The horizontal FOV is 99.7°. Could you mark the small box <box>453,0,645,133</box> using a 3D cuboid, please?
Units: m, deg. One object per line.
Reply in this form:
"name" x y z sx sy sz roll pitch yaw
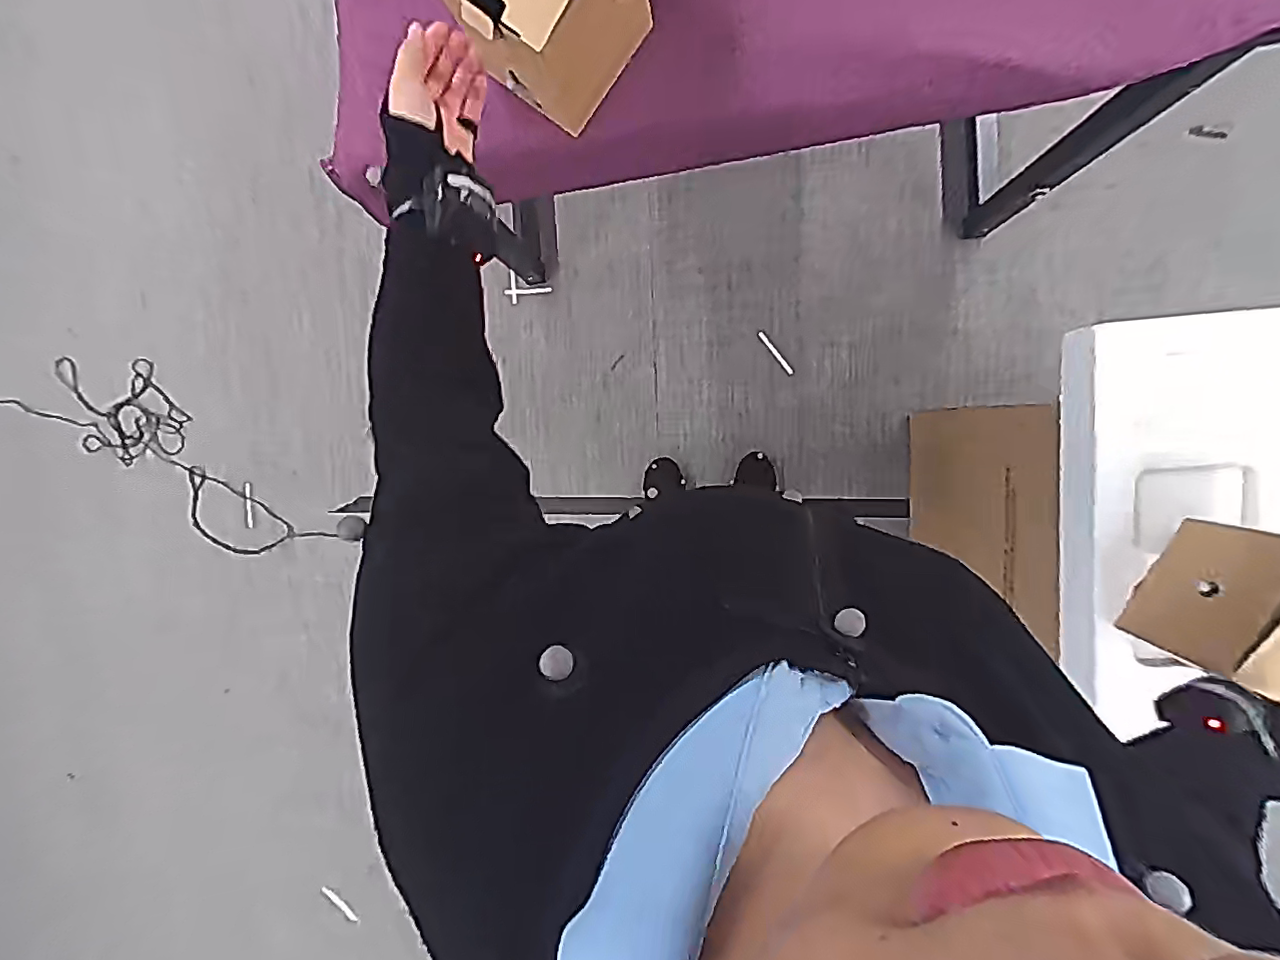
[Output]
"small box" -0.108 -0.581 0.656 0.168 0.176 0.179 38 97 4
